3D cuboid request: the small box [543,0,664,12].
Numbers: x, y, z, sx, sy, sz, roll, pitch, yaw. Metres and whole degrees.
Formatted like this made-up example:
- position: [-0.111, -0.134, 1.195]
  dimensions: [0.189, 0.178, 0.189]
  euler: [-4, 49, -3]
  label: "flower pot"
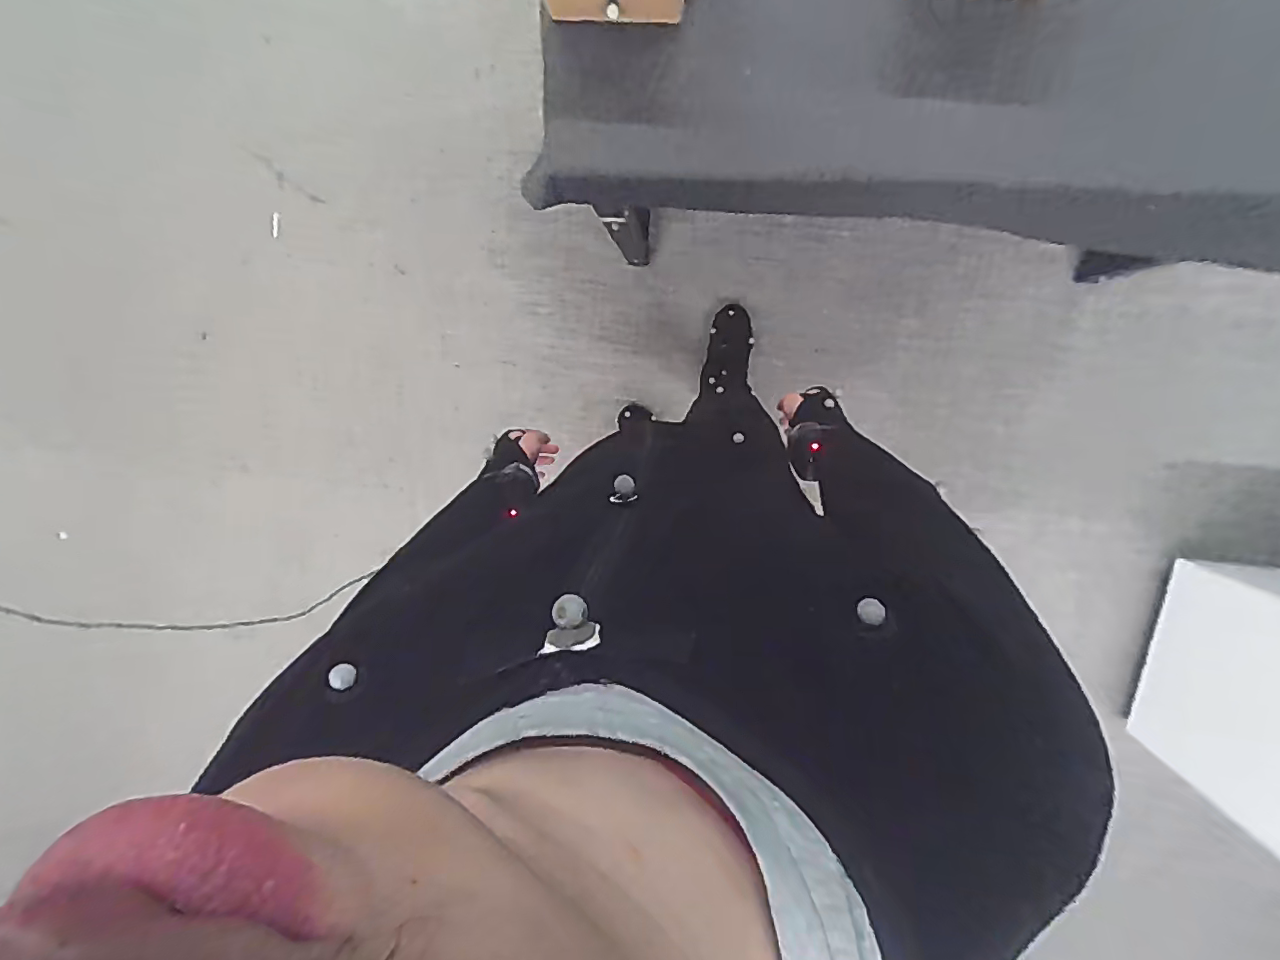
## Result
- position: [-0.039, -0.668, 0.600]
  dimensions: [0.179, 0.176, 0.168]
  euler: [5, 100, 2]
  label: "small box"
